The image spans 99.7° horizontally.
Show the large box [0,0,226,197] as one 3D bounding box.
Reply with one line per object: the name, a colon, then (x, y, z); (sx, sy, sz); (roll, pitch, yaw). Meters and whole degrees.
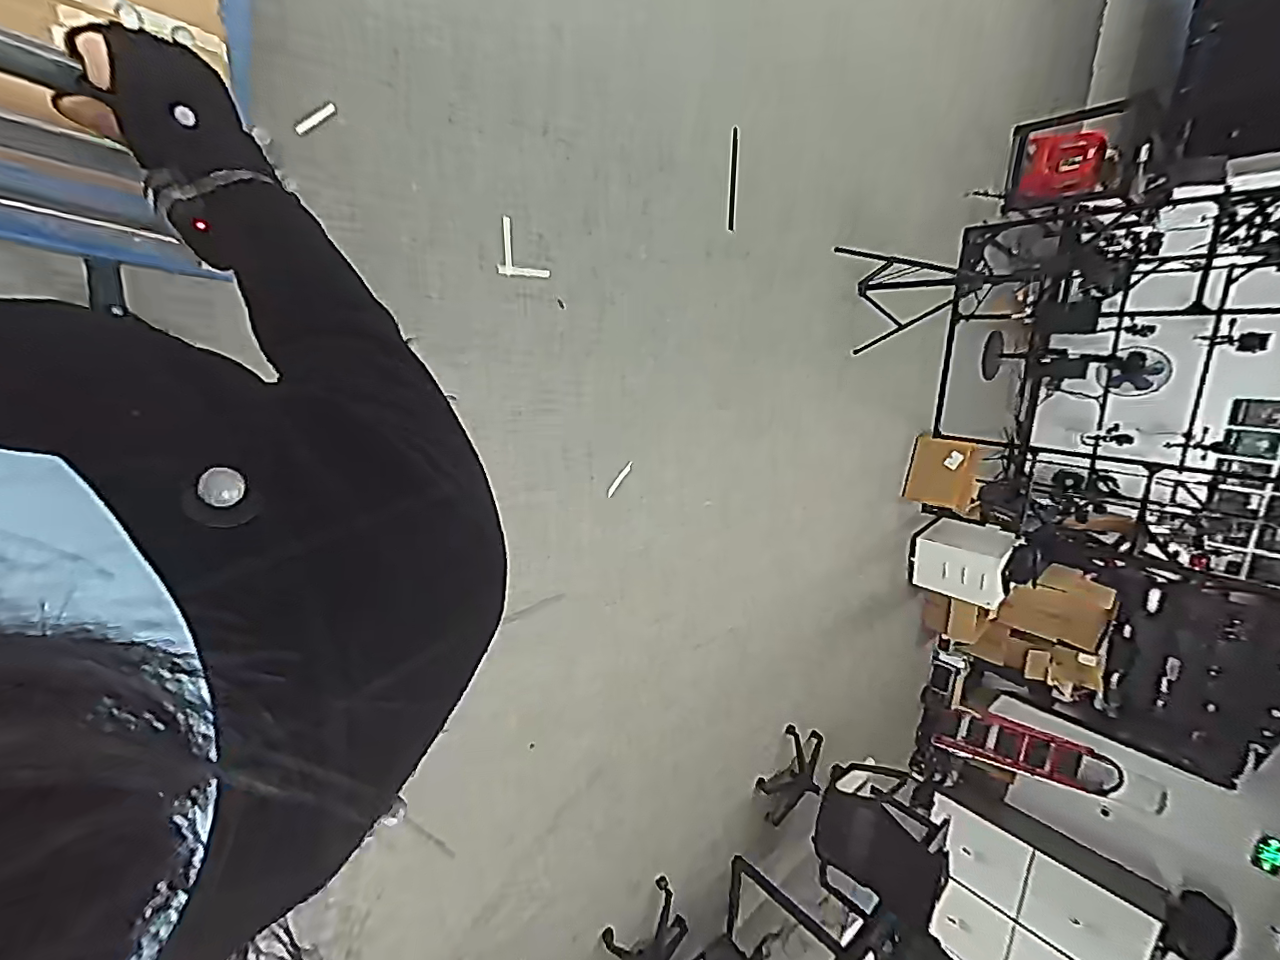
large box: (-0.832, -0.620, 0.720); (0.408, 0.320, 0.320); (-5, 105, -43)
